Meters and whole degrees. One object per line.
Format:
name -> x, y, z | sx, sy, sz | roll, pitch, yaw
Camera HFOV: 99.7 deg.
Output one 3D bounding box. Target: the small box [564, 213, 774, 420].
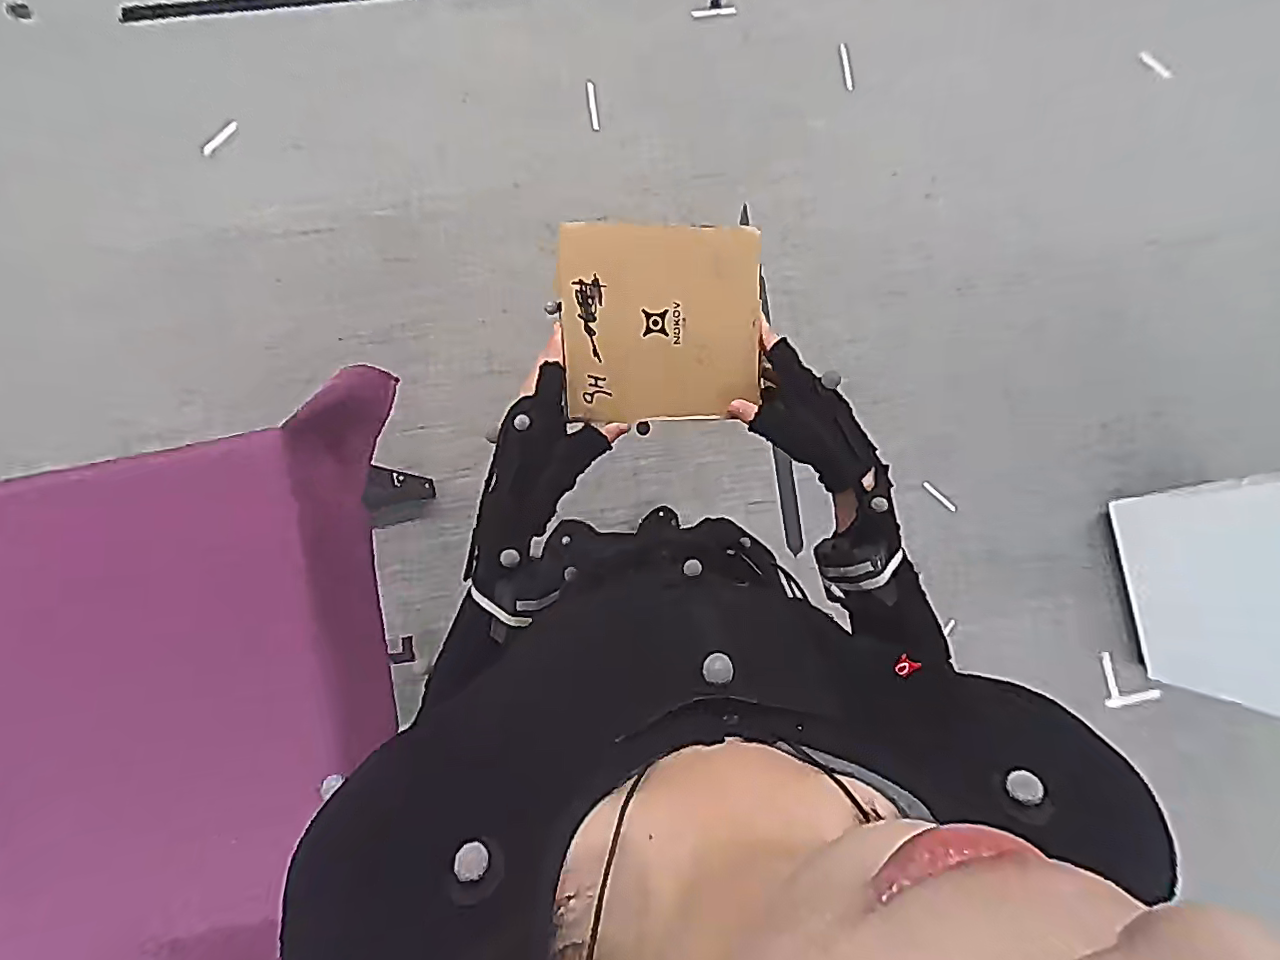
small box -> 0.017, -0.145, 0.537 | 0.179, 0.176, 0.168 | -2, 96, -9
